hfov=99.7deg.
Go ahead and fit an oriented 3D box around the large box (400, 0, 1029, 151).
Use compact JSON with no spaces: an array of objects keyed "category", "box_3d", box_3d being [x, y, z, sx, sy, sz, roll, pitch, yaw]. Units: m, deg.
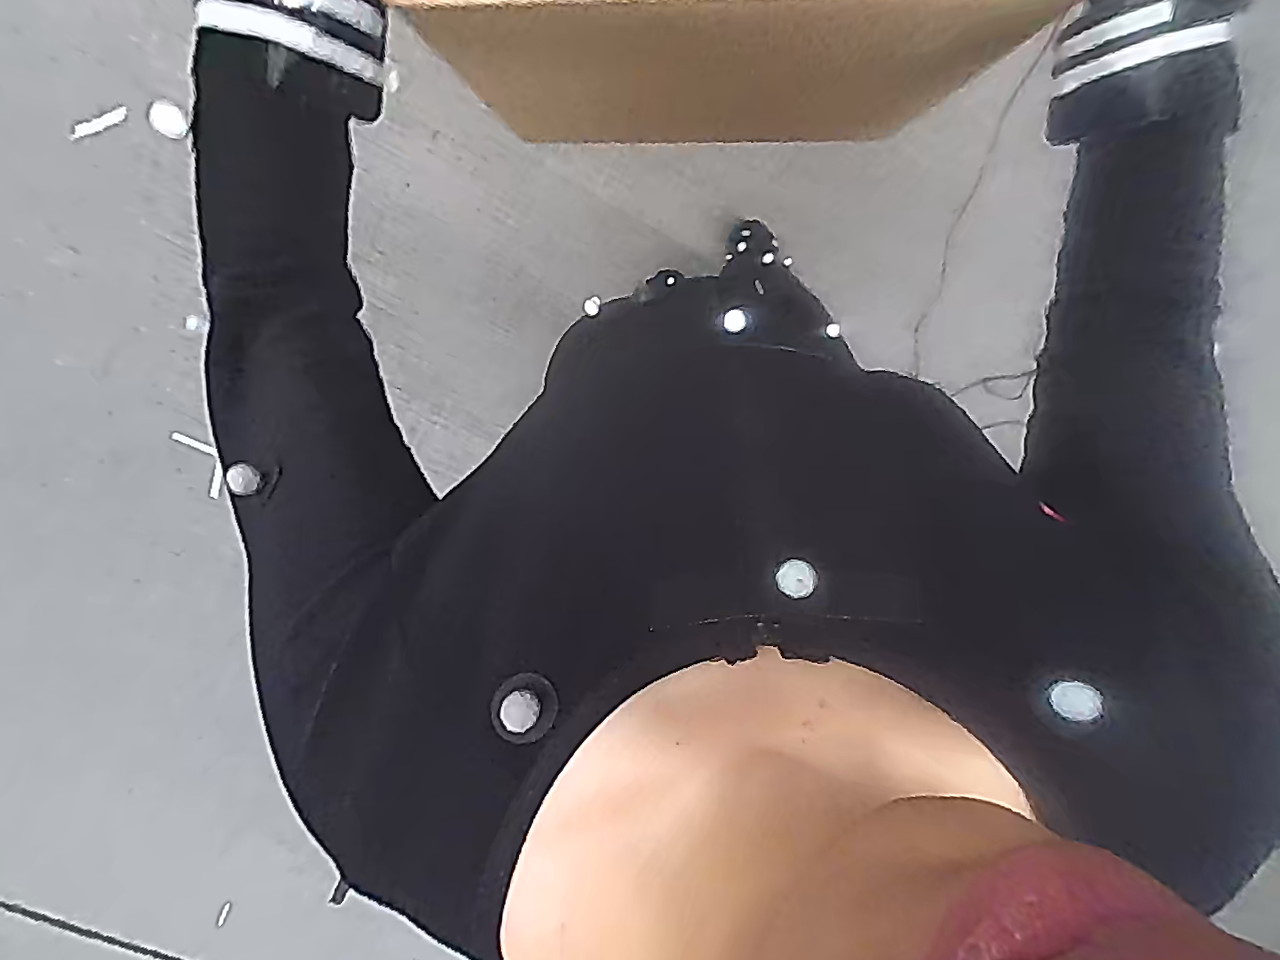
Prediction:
[{"category":"large box","box_3d":[0.051,-0.473,0.410,0.408,0.320,0.320,-1,109,3]}]
